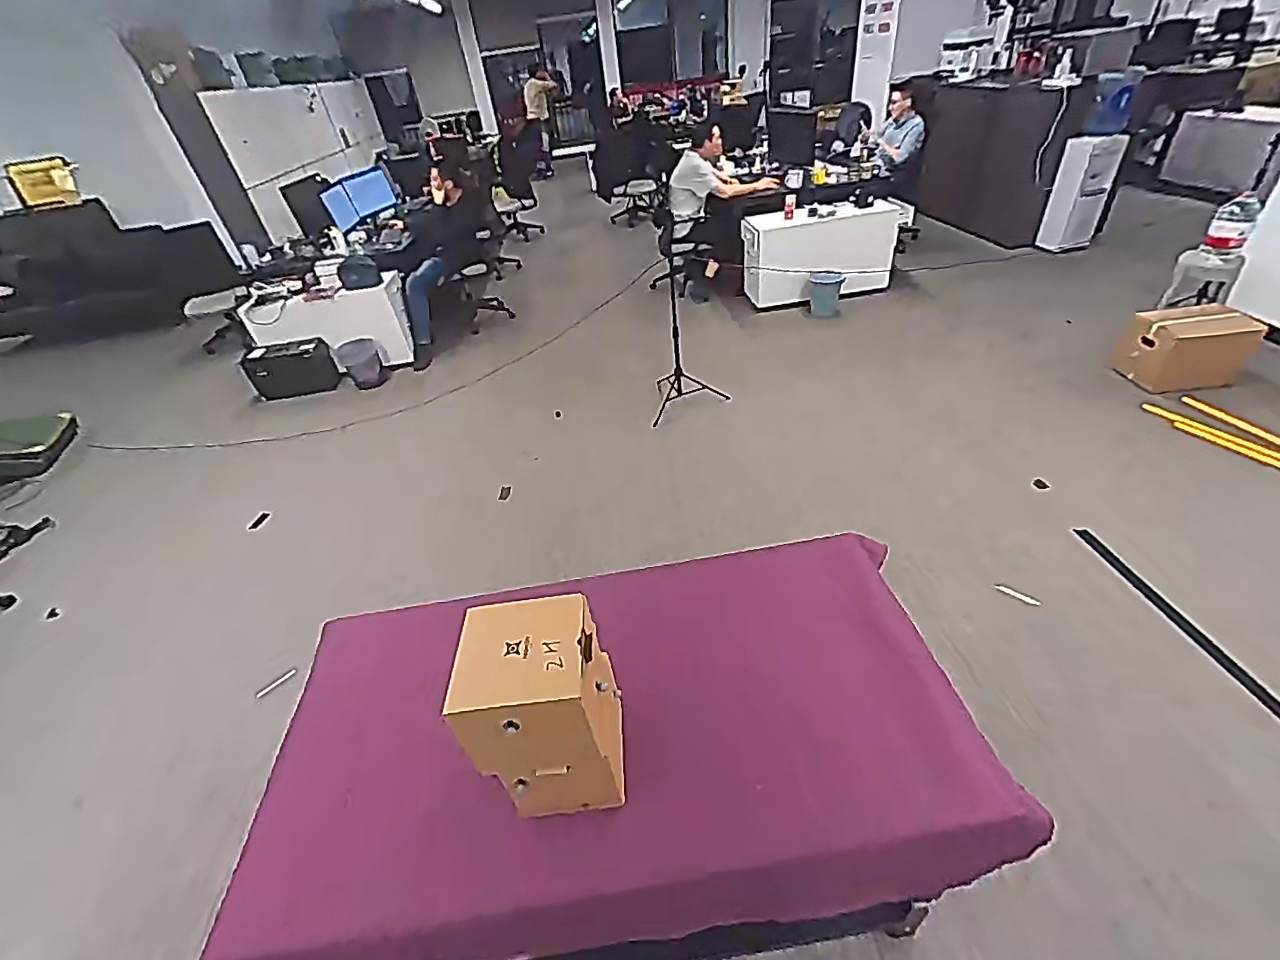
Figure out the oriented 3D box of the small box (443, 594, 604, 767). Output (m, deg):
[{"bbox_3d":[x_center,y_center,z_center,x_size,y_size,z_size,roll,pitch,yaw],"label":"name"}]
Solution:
[{"bbox_3d":[-0.152,0.288,0.773,0.179,0.176,0.168,-7,38,2],"label":"small box"}]
